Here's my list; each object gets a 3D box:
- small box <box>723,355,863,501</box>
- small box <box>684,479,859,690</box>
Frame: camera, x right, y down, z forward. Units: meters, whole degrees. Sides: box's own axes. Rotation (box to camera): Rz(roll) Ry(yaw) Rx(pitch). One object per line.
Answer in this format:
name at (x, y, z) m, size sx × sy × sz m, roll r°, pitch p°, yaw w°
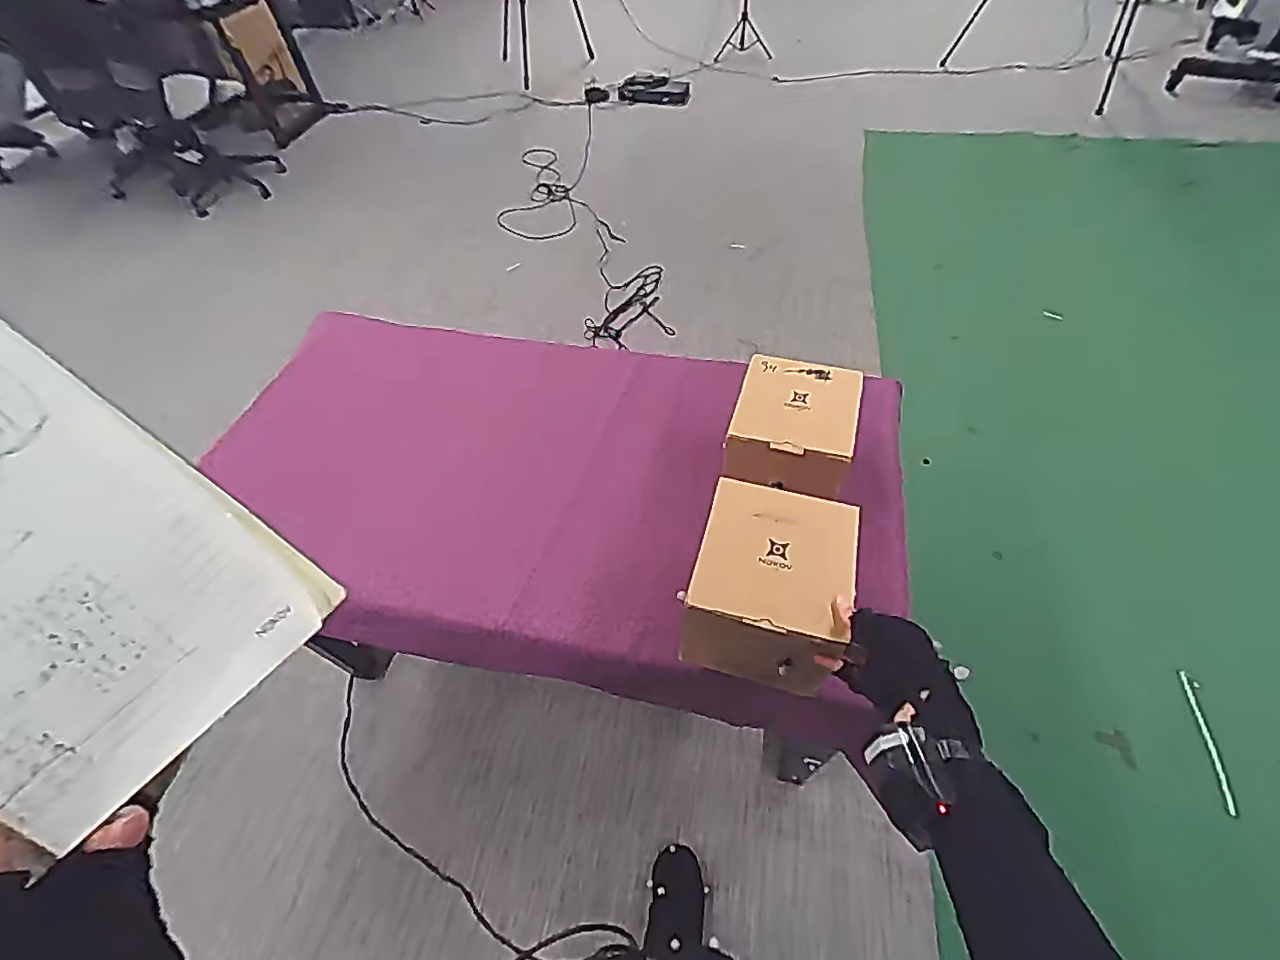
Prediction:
small box at (0.226, -0.058, 0.823) m, size 0.168 × 0.176 × 0.179 m, roll 14°, pitch 56°, yaw 14°
small box at (0.151, 0.129, 0.650) m, size 0.168 × 0.176 × 0.179 m, roll 12°, pitch 53°, yaw 11°
